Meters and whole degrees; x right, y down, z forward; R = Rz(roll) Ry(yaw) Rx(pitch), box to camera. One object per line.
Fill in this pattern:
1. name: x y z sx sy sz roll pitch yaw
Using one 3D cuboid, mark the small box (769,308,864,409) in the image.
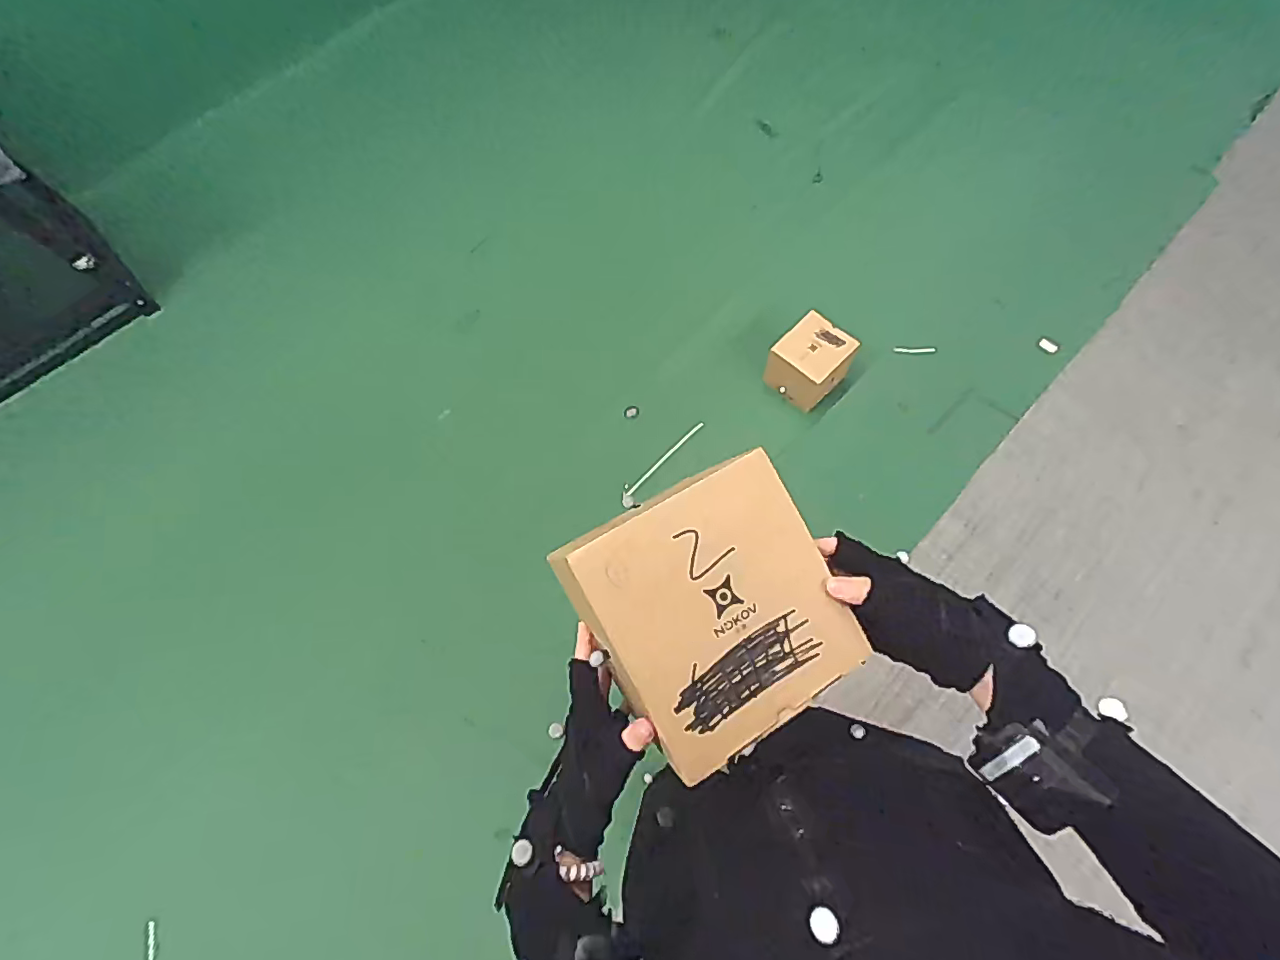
1. small box: 0.480 -0.333 1.503 0.179 0.176 0.168 -43 71 -11
